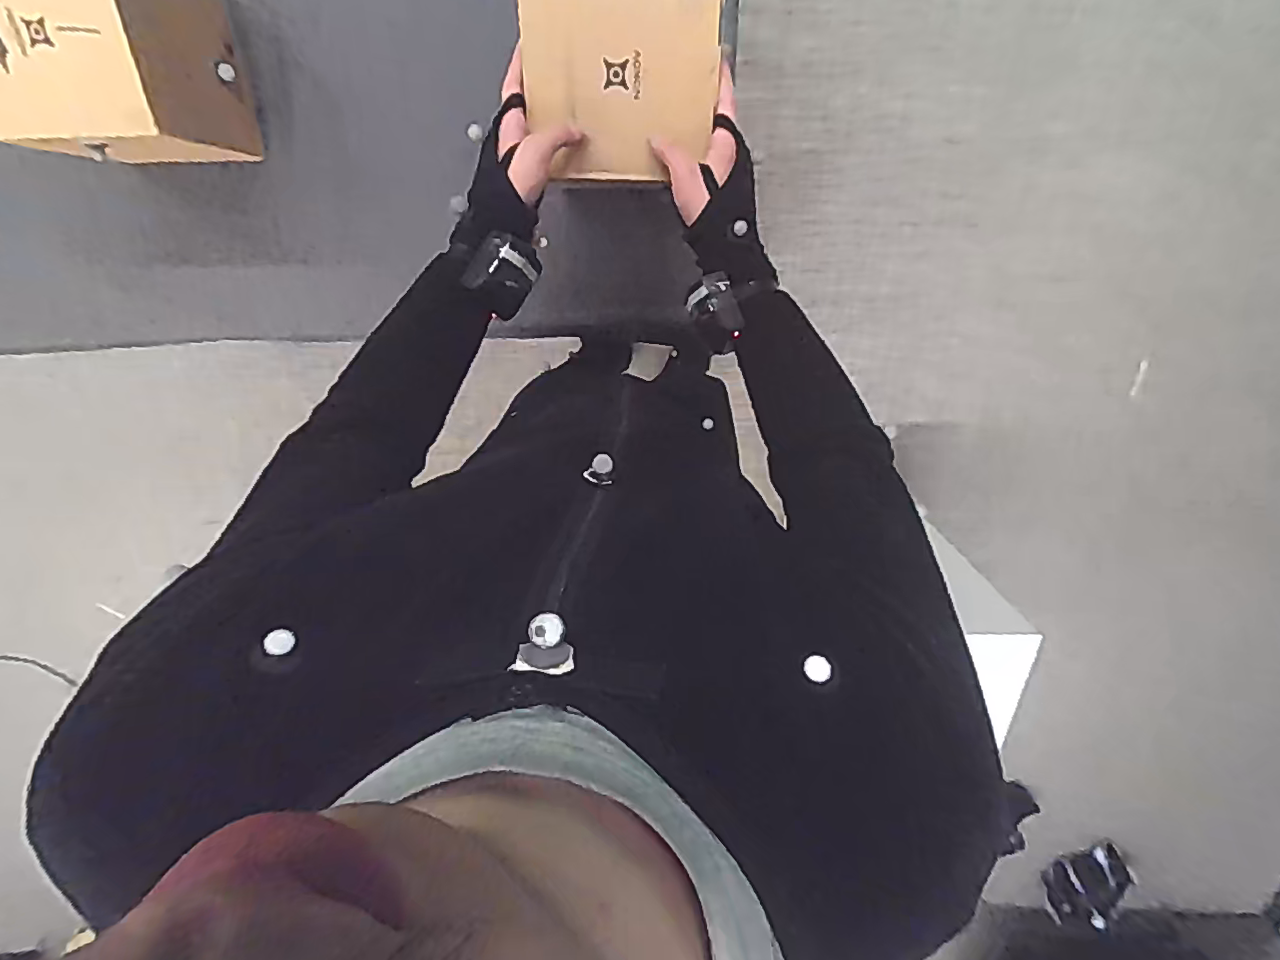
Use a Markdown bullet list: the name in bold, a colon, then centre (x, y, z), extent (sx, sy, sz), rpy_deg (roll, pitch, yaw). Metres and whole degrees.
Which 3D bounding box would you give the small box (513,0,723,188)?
- **small box**: centre (-0.016, -0.391, 0.539), extent (0.179, 0.176, 0.168), rpy_deg (2, 116, 3)

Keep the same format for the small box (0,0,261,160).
- **small box**: centre (-0.541, -0.430, 0.549), extent (0.179, 0.176, 0.168), rpy_deg (-1, 115, 0)
